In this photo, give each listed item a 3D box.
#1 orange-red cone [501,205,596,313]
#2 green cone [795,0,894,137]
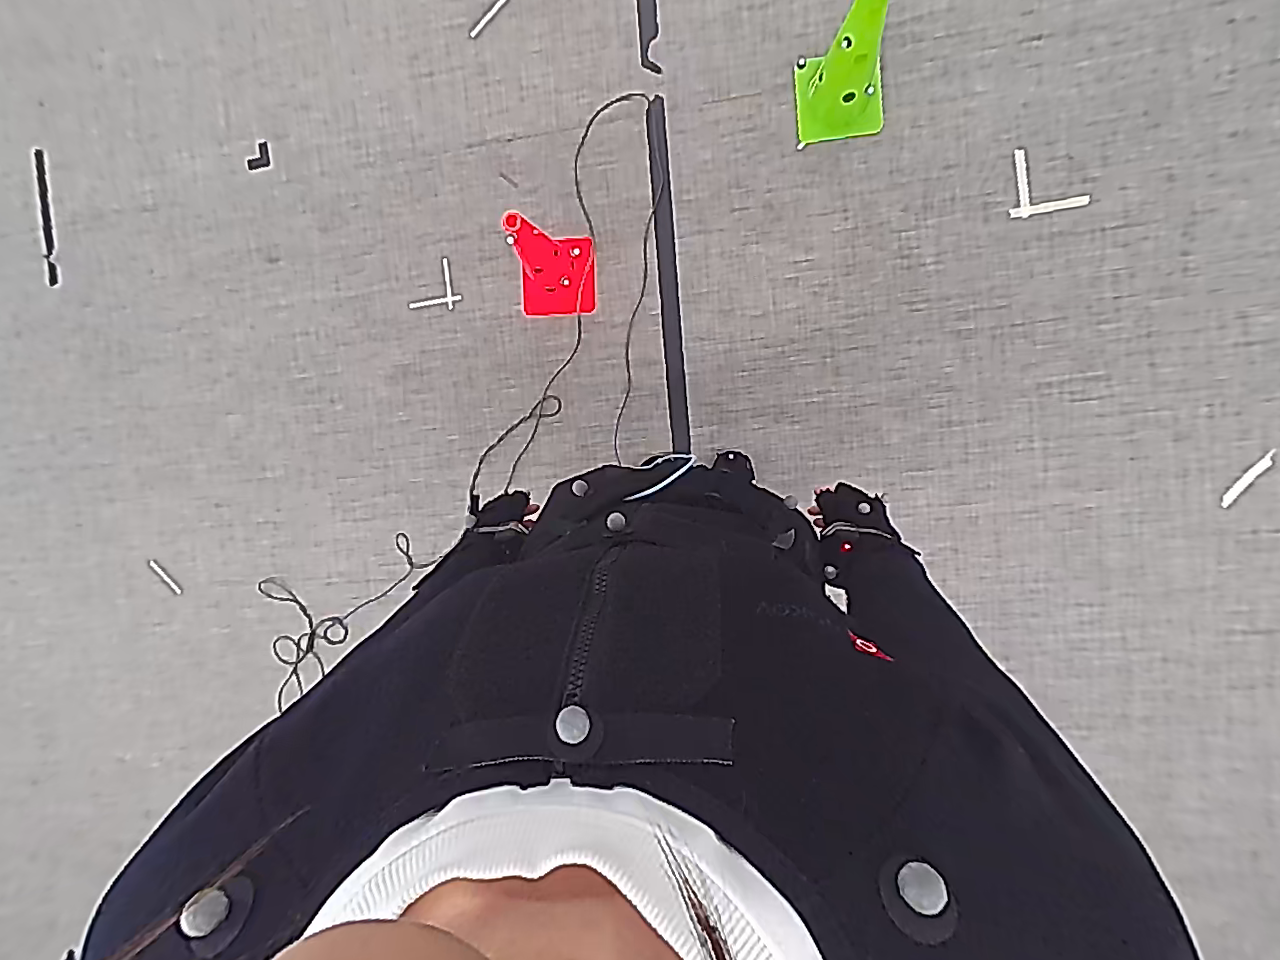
[{"bbox_3d":[-0.239,-0.538,1.257,0.199,0.360,0.198,0,92,8],"label":"orange-red cone"},{"bbox_3d":[0.463,-0.932,1.140,0.202,0.368,0.200,-5,93,6],"label":"green cone"}]
